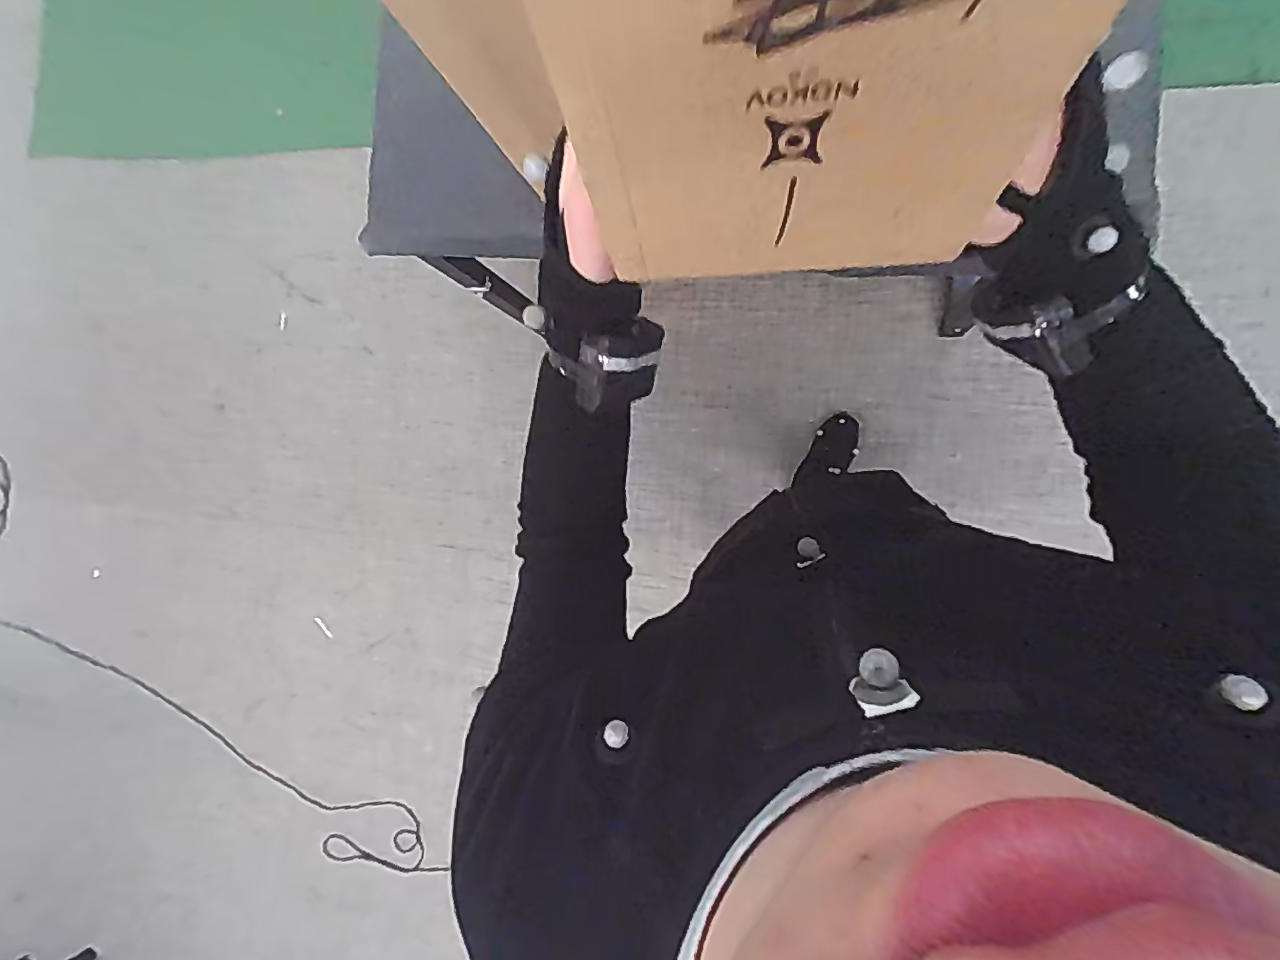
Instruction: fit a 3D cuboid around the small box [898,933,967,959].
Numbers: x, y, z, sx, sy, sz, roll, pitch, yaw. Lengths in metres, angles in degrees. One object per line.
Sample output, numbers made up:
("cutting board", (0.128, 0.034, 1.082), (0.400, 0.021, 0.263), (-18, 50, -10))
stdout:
("small box", (0.770, 1.292, 1.332), (0.168, 0.176, 0.179), (-44, 79, 8))
